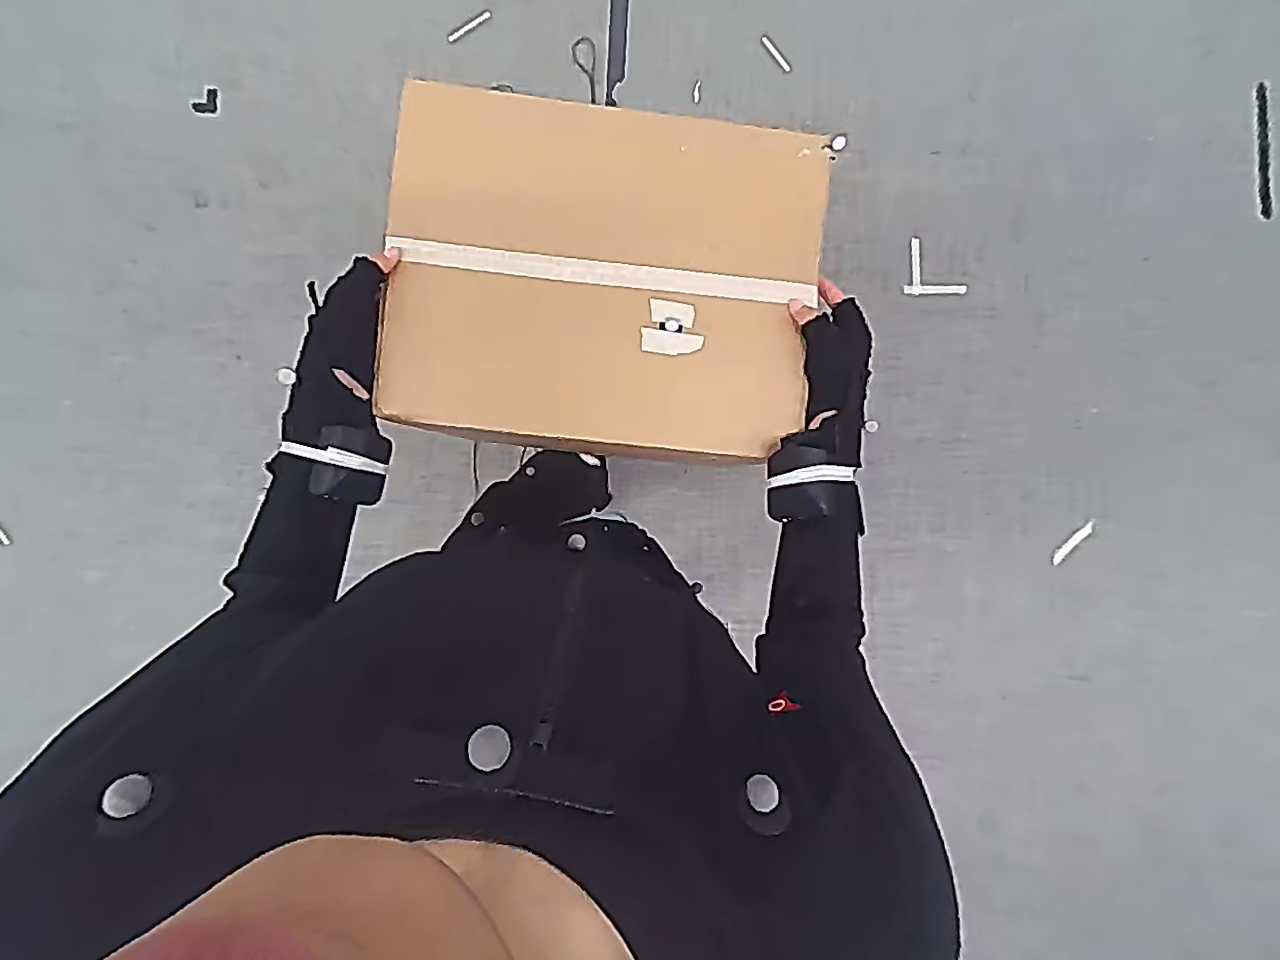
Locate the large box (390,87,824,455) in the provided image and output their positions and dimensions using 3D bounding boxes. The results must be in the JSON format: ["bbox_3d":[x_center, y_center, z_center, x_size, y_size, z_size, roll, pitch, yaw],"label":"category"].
[{"bbox_3d":[-0.039,-0.205,0.671,0.408,0.320,0.320,6,91,-4],"label":"large box"}]
